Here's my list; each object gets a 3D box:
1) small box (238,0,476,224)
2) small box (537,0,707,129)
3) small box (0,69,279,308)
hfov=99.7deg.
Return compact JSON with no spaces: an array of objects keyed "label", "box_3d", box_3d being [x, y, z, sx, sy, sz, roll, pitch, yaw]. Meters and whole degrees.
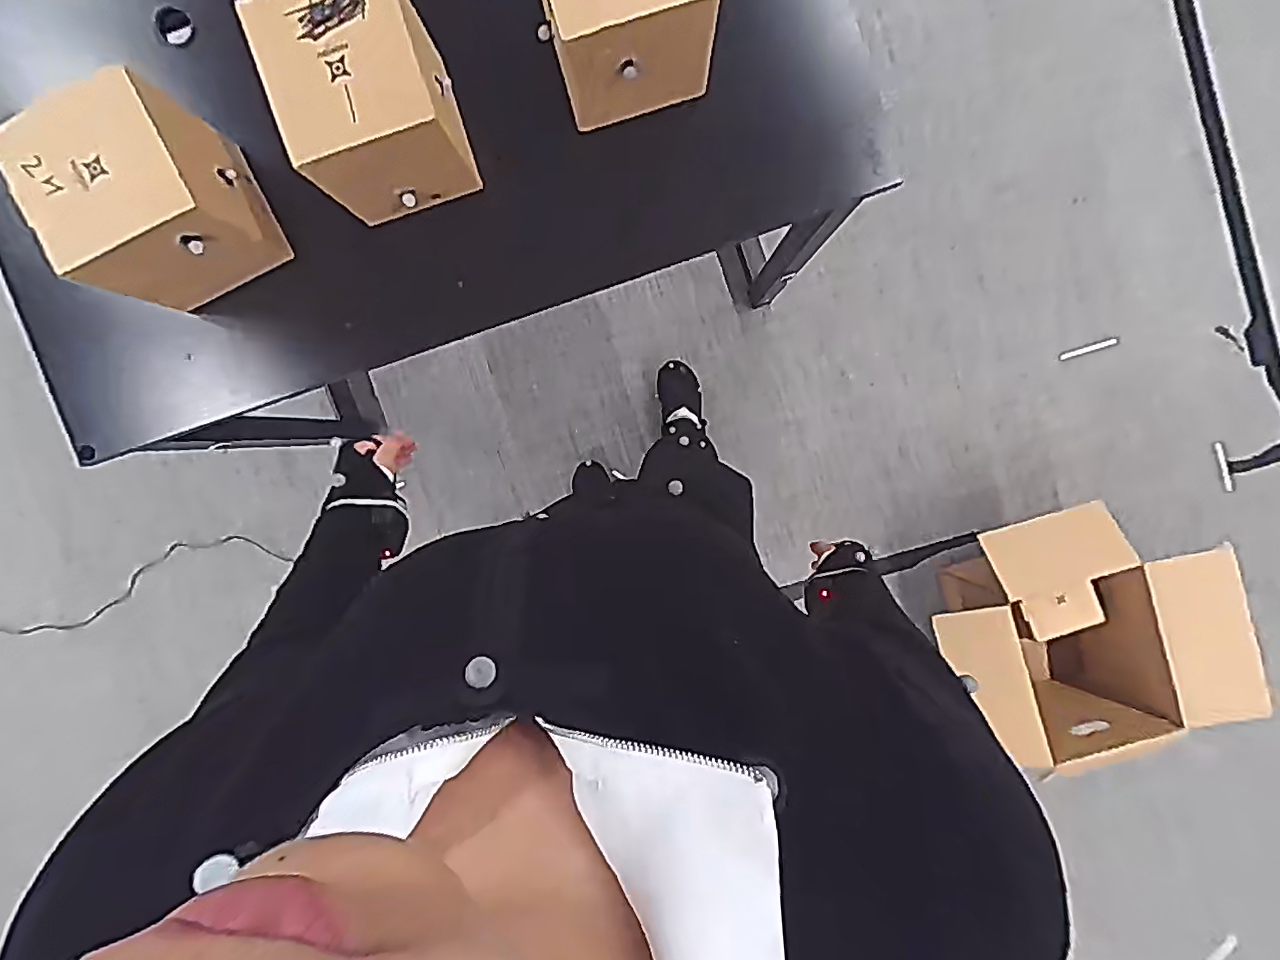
[{"label":"small box","box_3d":[-0.320,-0.445,0.650,0.168,0.176,0.179,-17,95,2]},{"label":"small box","box_3d":[-0.027,-0.557,0.637,0.179,0.176,0.168,-16,94,3]},{"label":"small box","box_3d":[-0.589,-0.336,0.661,0.179,0.176,0.168,-25,94,3]}]
